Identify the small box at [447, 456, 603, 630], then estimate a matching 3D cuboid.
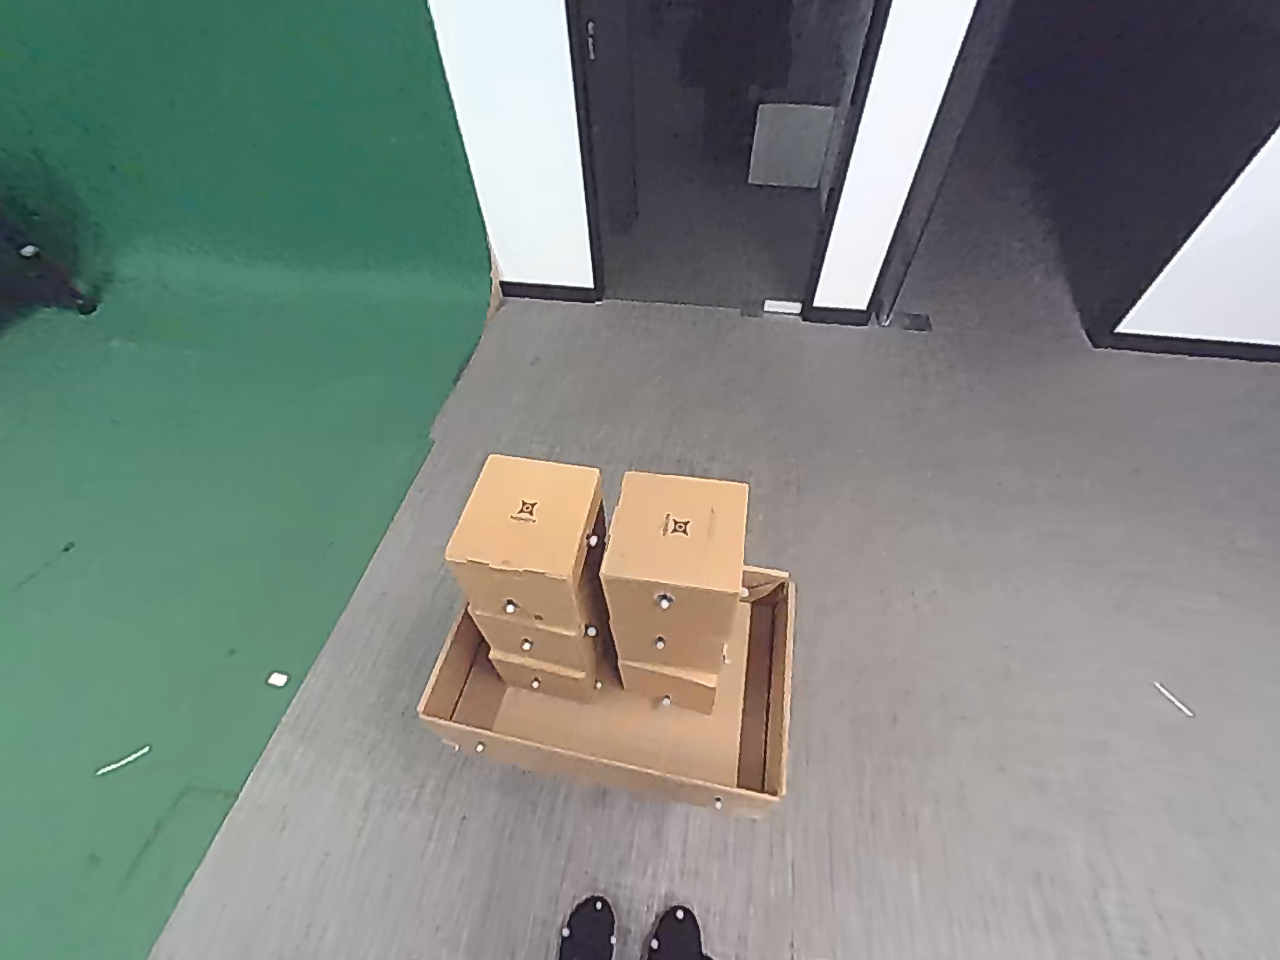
[{"bbox_3d":[-0.151,0.093,0.785,0.168,0.176,0.179,8,53,7],"label":"small box"}]
